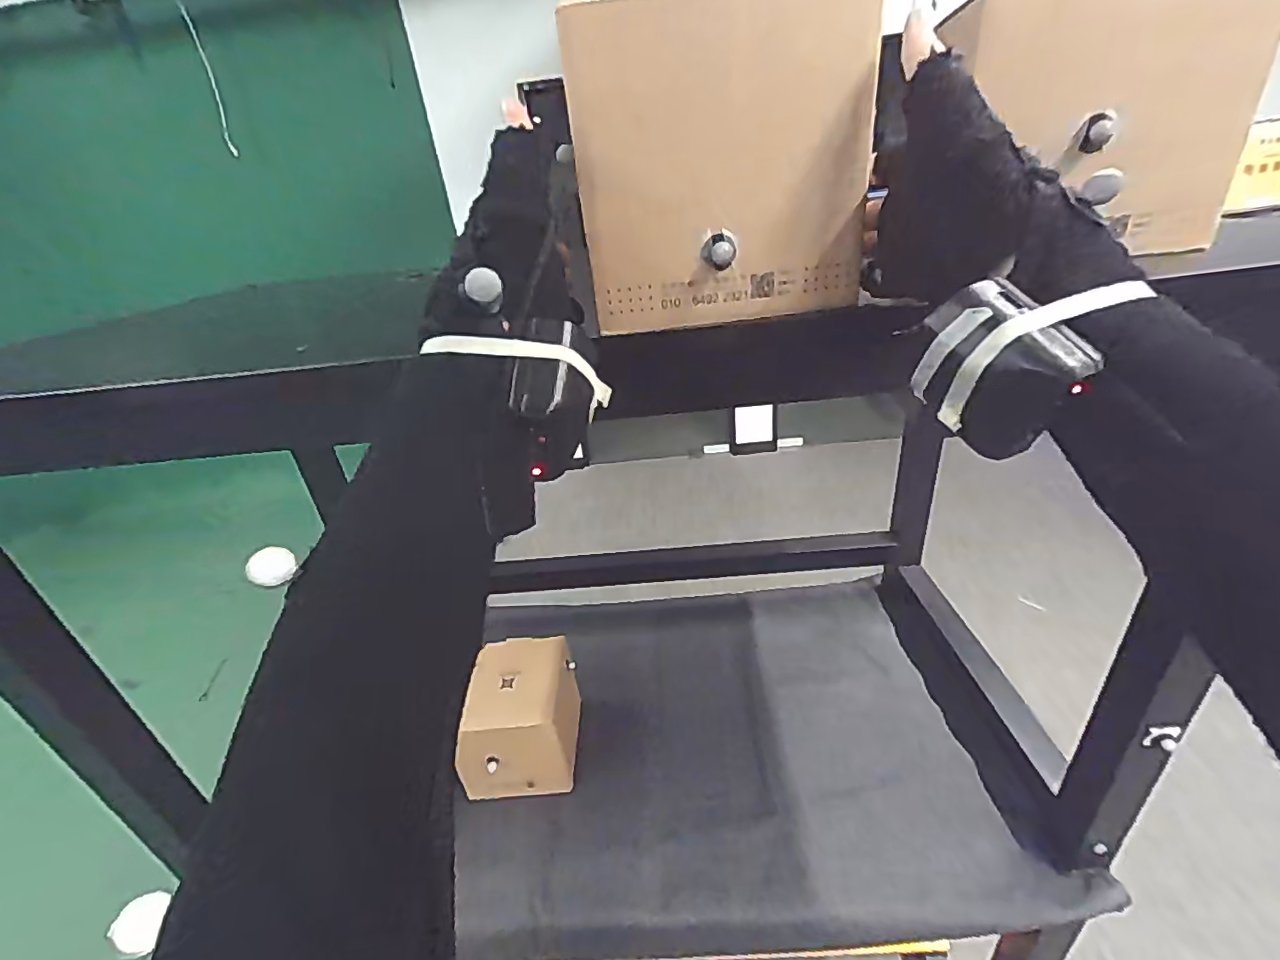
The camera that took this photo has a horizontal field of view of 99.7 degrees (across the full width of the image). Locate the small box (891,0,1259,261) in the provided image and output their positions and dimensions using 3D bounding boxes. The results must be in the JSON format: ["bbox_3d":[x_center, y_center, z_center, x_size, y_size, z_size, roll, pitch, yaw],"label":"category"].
[{"bbox_3d":[0.303,-0.270,0.417,0.168,0.176,0.179,0,29,13],"label":"small box"}]
